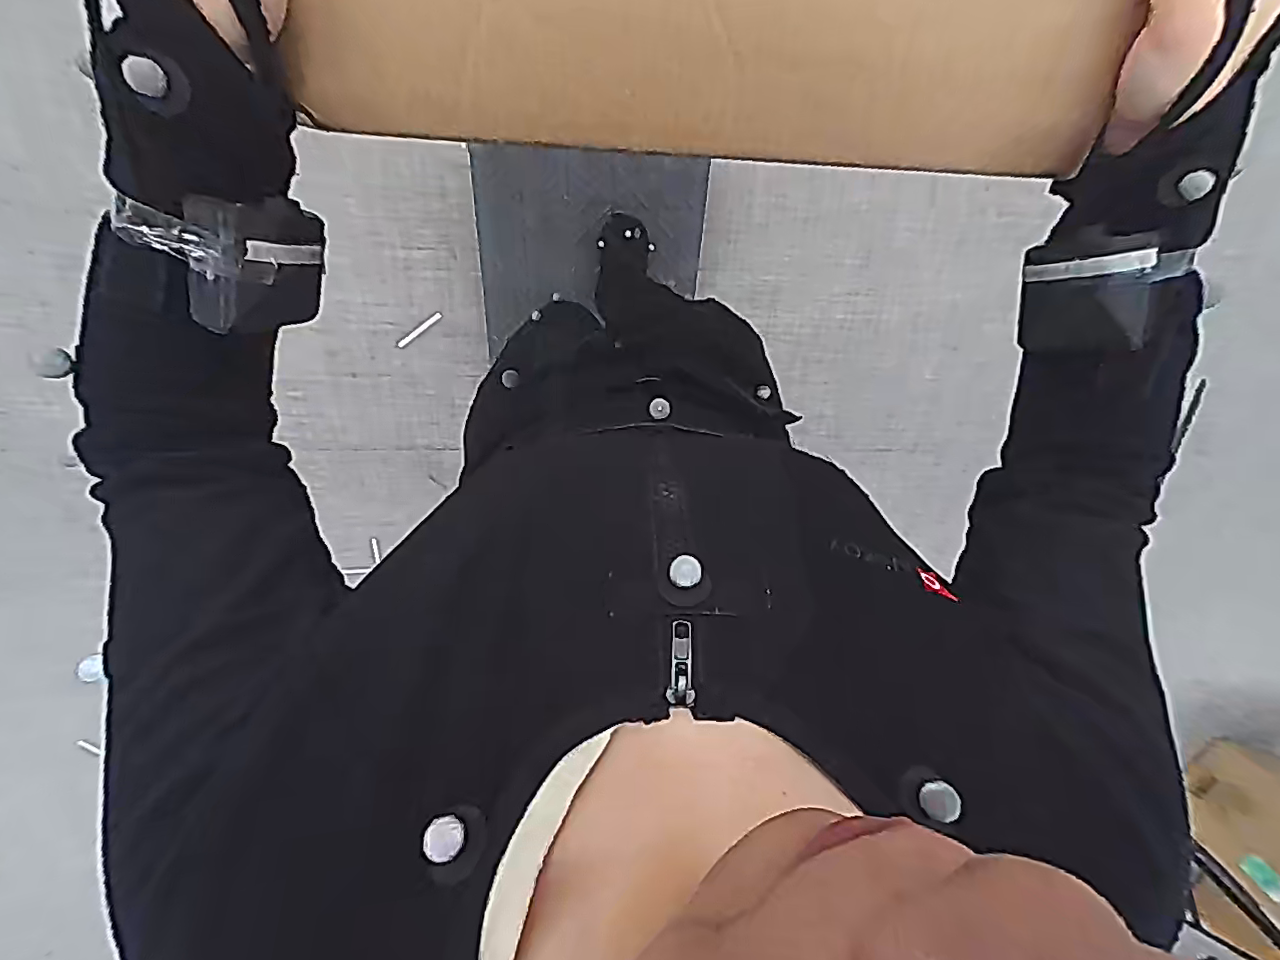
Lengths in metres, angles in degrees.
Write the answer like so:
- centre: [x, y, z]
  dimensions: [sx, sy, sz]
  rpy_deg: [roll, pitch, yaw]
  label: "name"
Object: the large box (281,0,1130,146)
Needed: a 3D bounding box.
- centre: [0.031, -0.395, 0.299]
  dimensions: [0.408, 0.320, 0.320]
  rpy_deg: [0, 131, -6]
  label: "large box"
